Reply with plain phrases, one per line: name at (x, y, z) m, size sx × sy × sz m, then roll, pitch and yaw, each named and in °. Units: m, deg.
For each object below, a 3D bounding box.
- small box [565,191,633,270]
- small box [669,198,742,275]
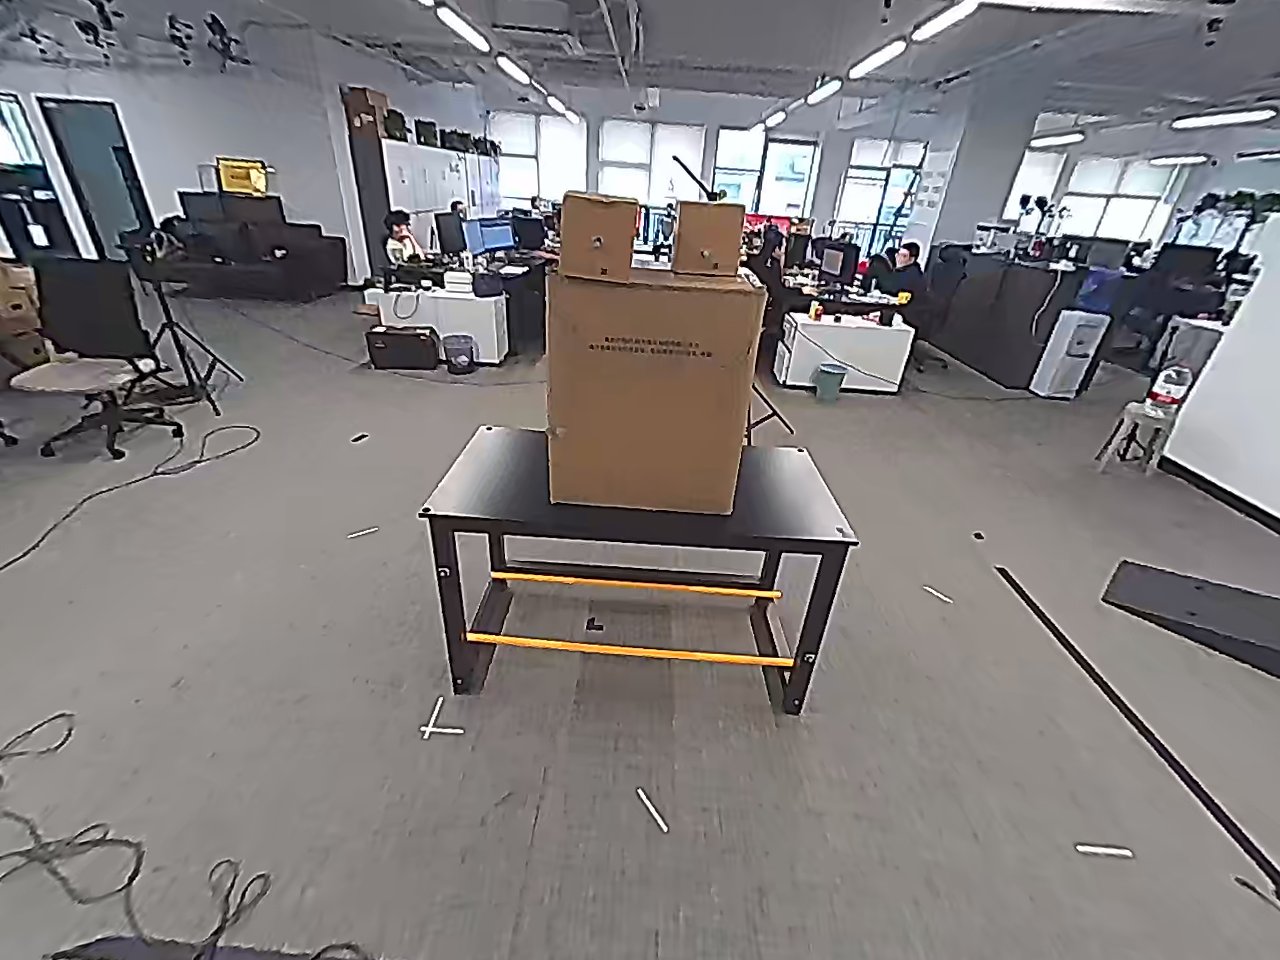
small box at (-0.108, -0.662, 1.432) m, size 0.168 × 0.176 × 0.179 m, roll 3°, pitch 29°, yaw -1°
small box at (0.165, -0.643, 1.424) m, size 0.168 × 0.176 × 0.179 m, roll 1°, pitch 28°, yaw -1°
